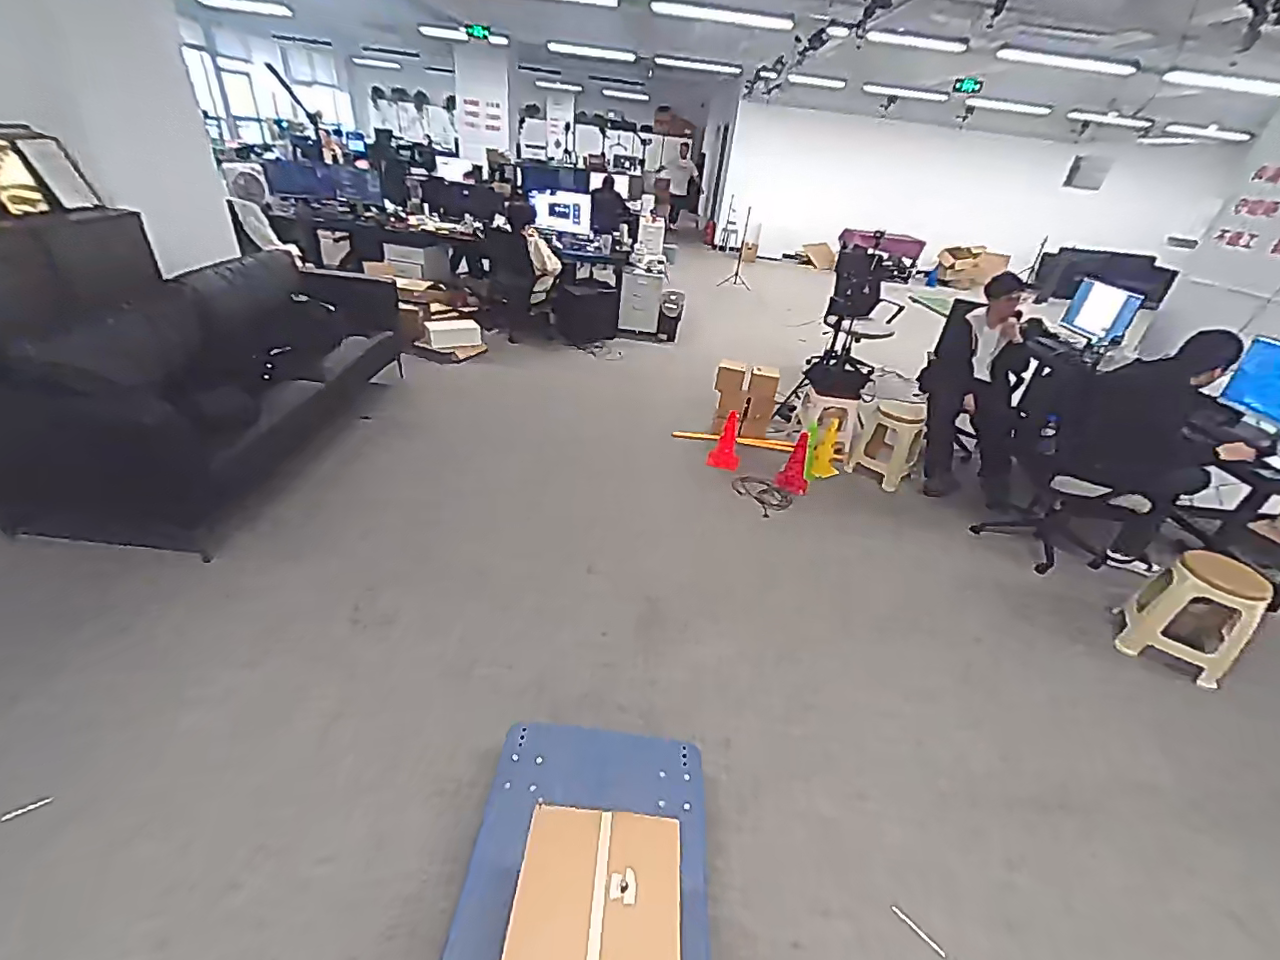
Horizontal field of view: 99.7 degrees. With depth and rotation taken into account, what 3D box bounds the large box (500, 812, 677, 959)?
[{"bbox_3d":[-0.100,0.947,1.053,0.320,0.320,0.408,7,30,-1],"label":"large box"}]
